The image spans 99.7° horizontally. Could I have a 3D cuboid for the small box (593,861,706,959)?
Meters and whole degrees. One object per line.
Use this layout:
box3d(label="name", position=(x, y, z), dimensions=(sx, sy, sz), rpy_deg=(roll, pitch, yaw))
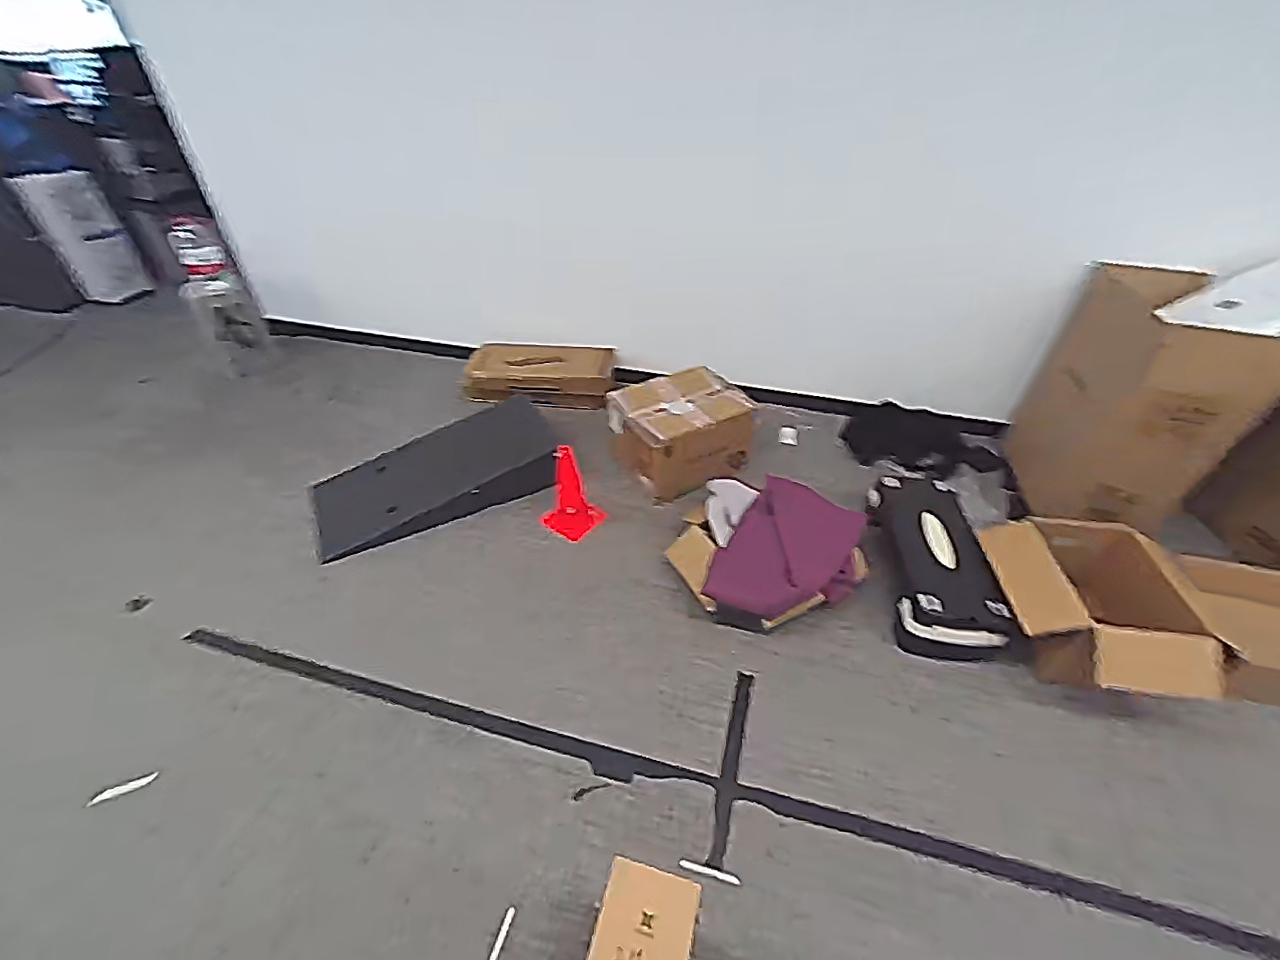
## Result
box3d(label="small box", position=(0.016, 0.840, 0.978), dimensions=(0.168, 0.176, 0.179), rpy_deg=(11, 42, 13))
